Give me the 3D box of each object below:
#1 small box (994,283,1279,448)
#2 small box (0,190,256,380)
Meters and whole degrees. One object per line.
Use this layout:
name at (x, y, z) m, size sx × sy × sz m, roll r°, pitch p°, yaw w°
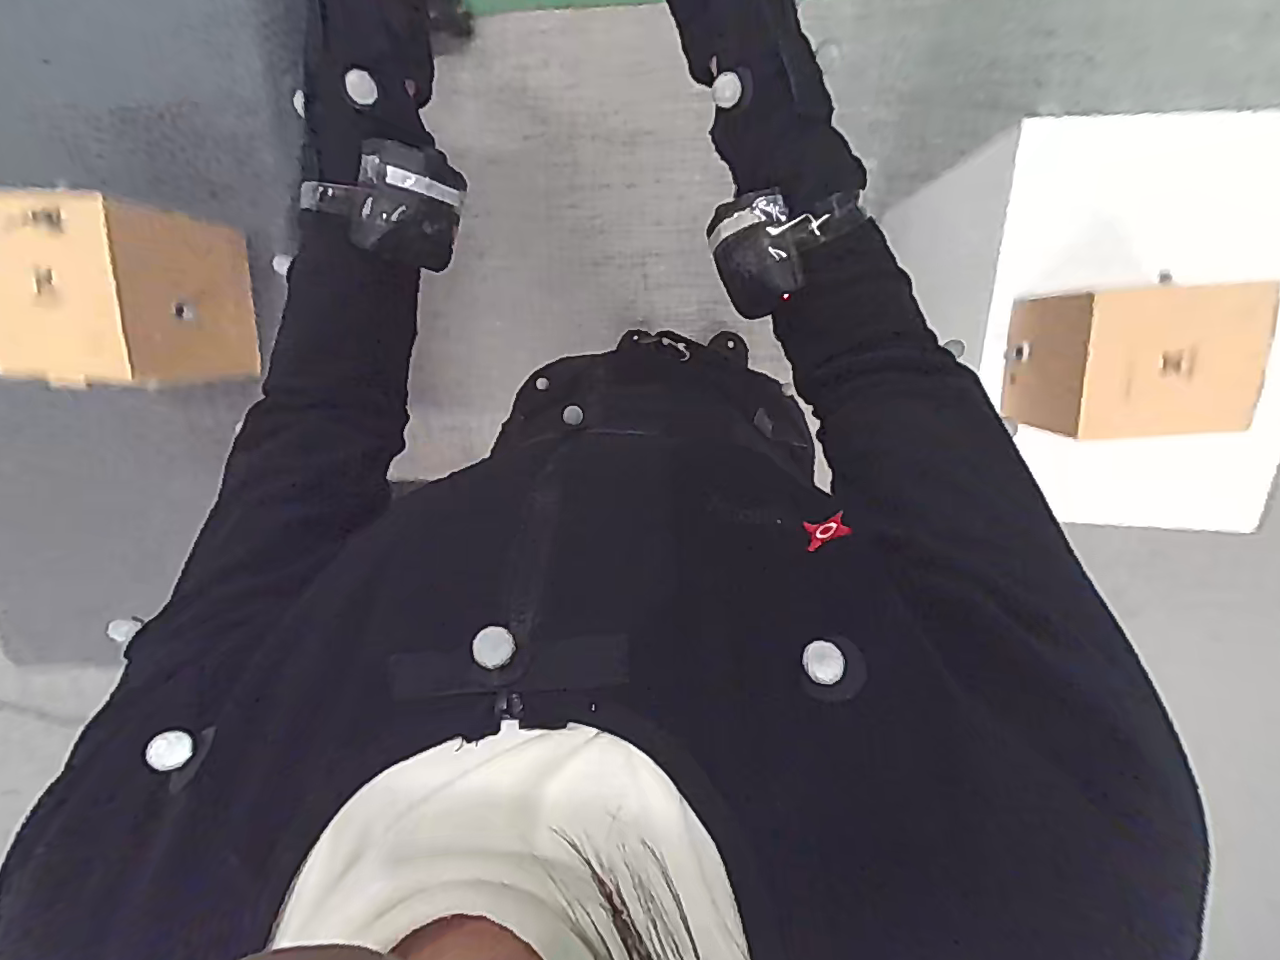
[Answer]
small box at (0.560, -0.136, 0.639) m, size 0.179 × 0.176 × 0.168 m, roll -2°, pitch 104°, yaw 9°
small box at (-0.578, -0.215, 0.614) m, size 0.168 × 0.176 × 0.179 m, roll 5°, pitch 106°, yaw 6°
